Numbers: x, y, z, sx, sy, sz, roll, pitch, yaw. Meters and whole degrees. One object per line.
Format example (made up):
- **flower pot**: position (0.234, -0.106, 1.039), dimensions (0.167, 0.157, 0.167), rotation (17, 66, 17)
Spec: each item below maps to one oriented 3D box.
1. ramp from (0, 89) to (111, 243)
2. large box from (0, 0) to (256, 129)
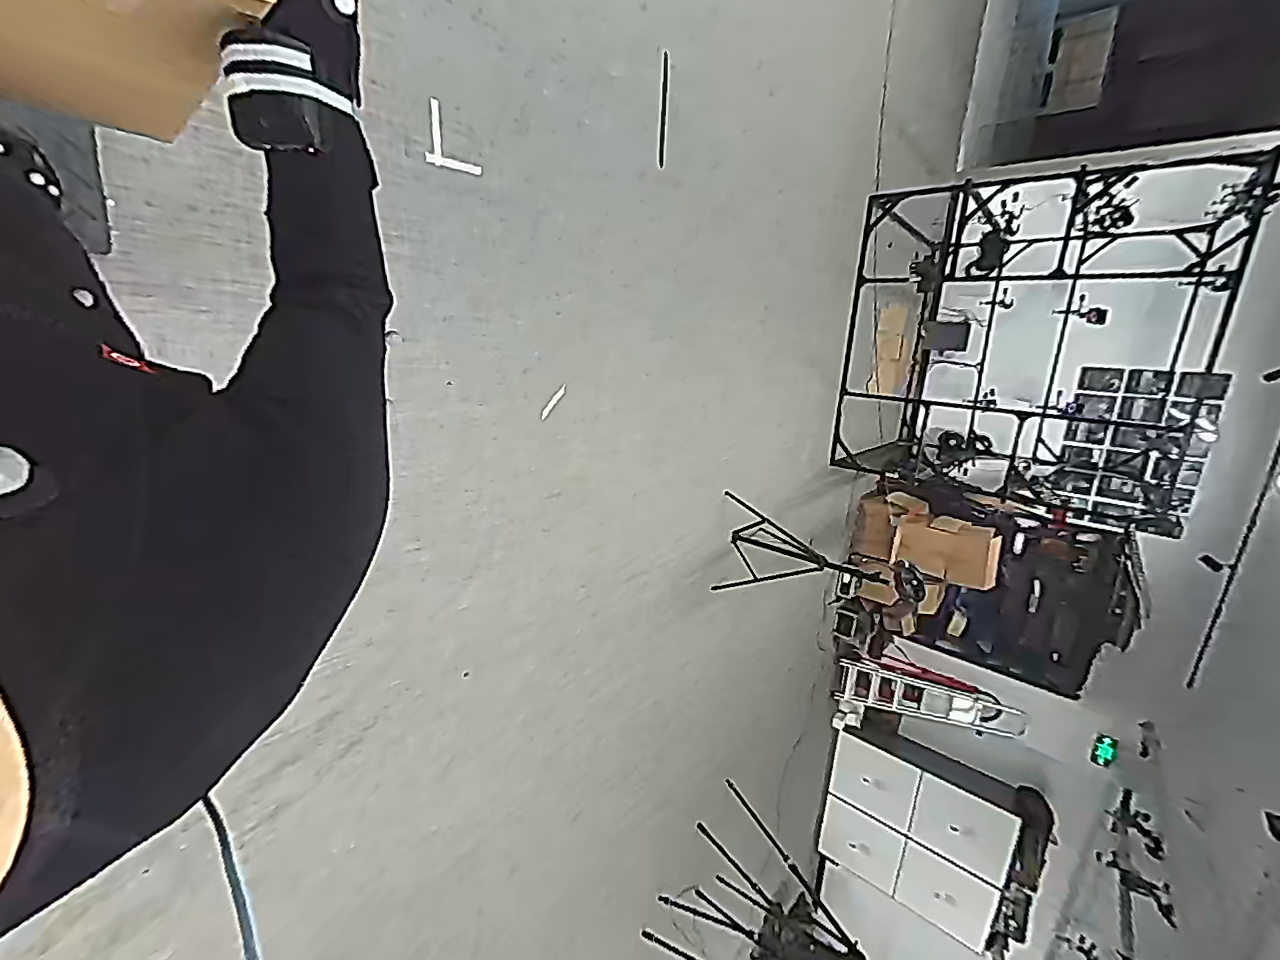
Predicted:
- **ramp**: position (-1.082, -0.869, 0.688), dimensions (0.509, 0.206, 0.991), rotation (-17, 115, -49)
- **large box**: position (-0.483, -0.452, 0.270), dimensions (0.408, 0.320, 0.320), rotation (-11, 105, -49)
